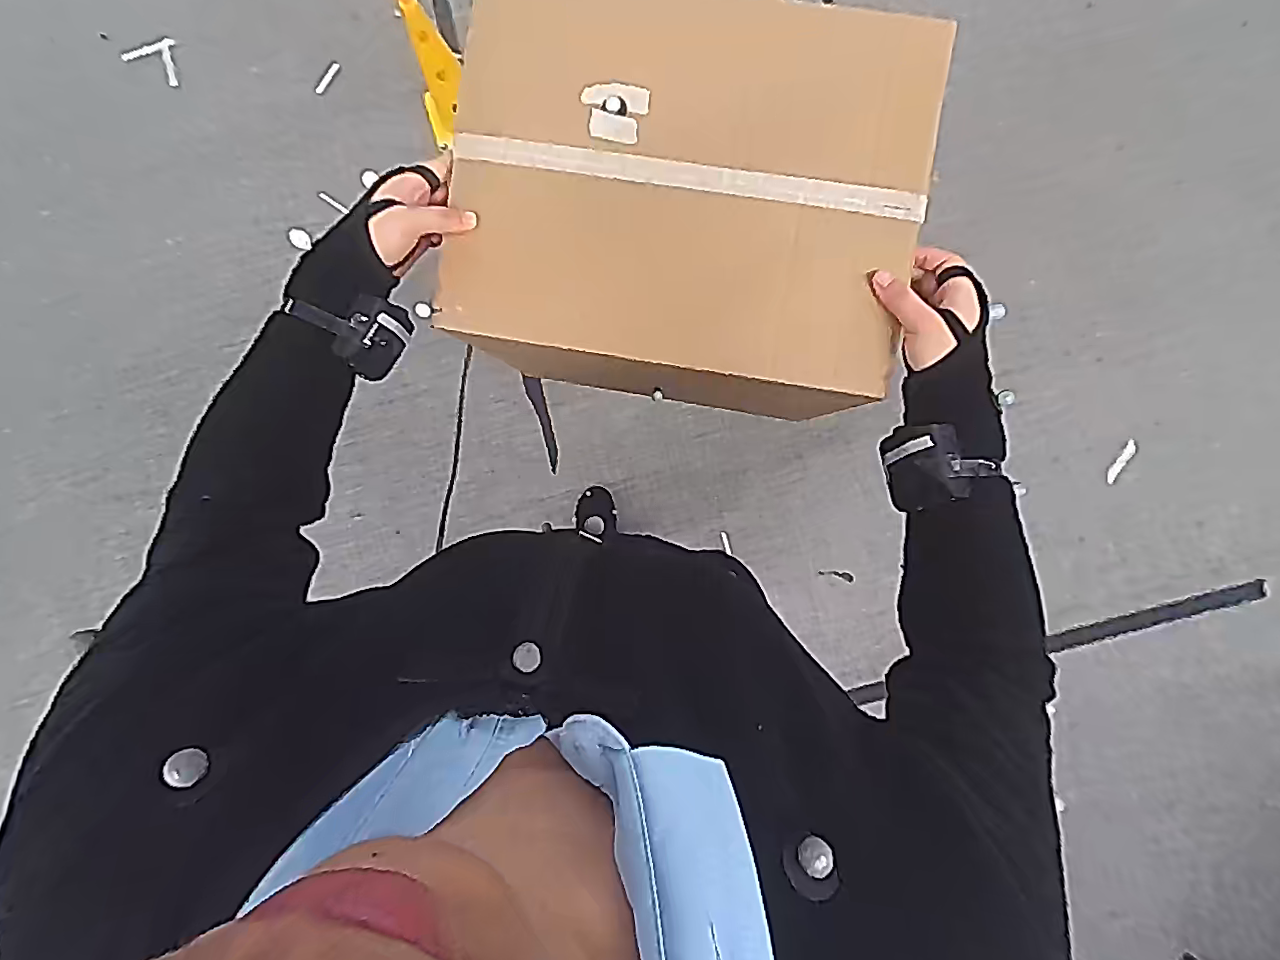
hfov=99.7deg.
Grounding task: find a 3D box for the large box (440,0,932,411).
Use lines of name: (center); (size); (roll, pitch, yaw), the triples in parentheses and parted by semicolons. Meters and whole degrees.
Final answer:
large box: (0.045, -0.264, 0.623); (0.408, 0.320, 0.320); (9, 92, 4)
